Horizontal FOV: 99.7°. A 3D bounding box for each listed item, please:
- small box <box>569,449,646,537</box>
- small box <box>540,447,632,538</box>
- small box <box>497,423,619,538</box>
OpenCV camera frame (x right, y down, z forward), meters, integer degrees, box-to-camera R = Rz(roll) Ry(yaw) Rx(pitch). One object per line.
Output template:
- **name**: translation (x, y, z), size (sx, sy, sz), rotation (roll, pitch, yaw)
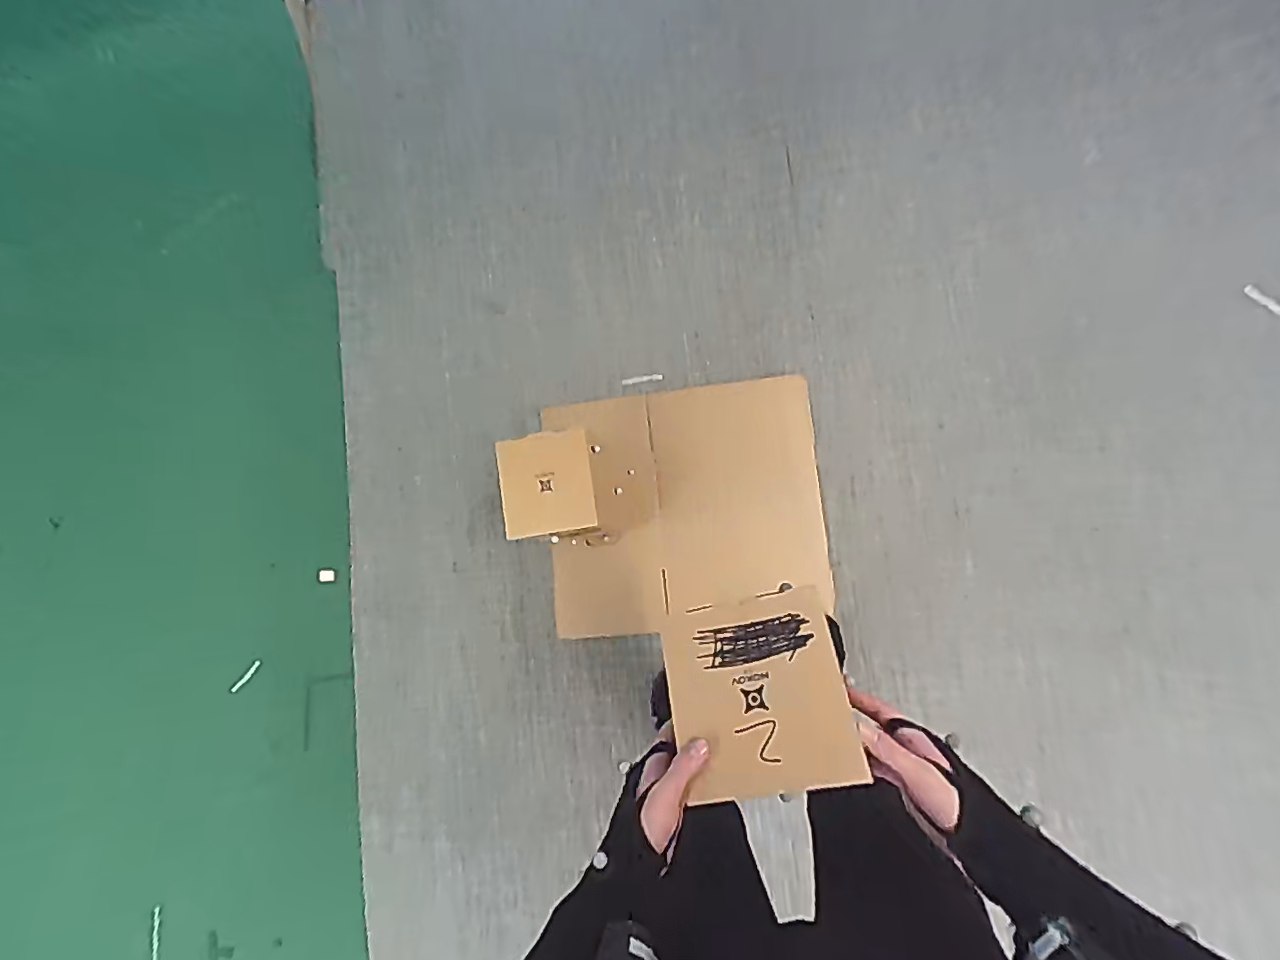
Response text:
- **small box**: translation (-0.091, 0.038, 1.315), size (0.168, 0.176, 0.179), rotation (-14, 83, 9)
- **small box**: translation (-0.120, 0.024, 1.156), size (0.168, 0.176, 0.179), rotation (-11, 82, 9)
- **small box**: translation (-0.144, 0.007, 0.996), size (0.168, 0.176, 0.179), rotation (-10, 83, 9)
